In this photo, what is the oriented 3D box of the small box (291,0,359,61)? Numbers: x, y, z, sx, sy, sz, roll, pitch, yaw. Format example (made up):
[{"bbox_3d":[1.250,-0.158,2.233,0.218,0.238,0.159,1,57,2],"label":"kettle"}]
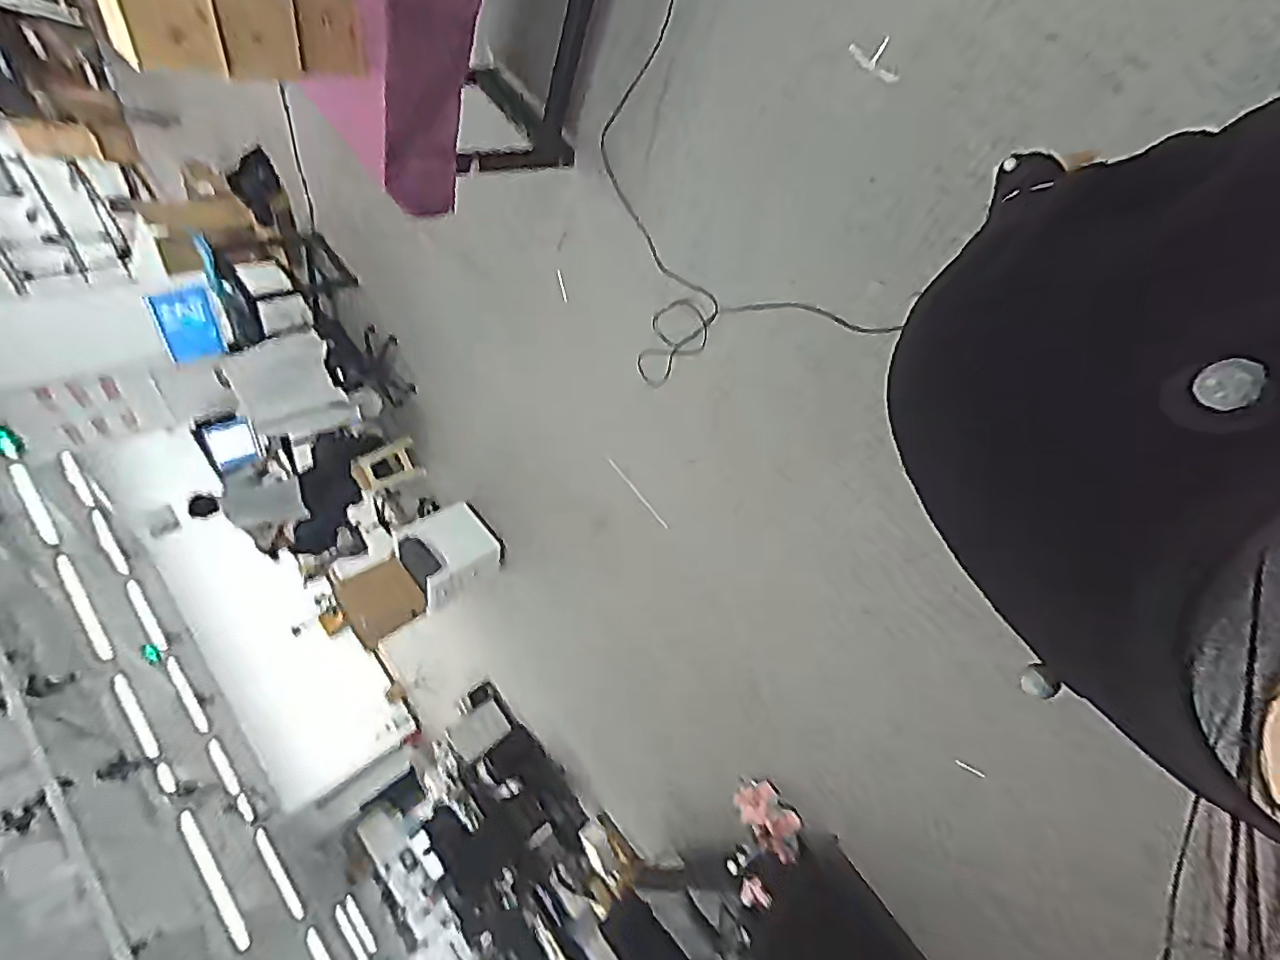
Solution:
[{"bbox_3d":[-0.818,-1.175,1.345,0.179,0.176,0.168,47,140,18],"label":"small box"}]

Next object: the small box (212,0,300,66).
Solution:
[{"bbox_3d":[-0.917,-1.090,1.242,0.168,0.176,0.179,46,141,18],"label":"small box"}]

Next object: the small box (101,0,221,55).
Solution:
[{"bbox_3d":[-1.020,-1.022,1.135,0.179,0.176,0.168,44,140,21],"label":"small box"}]
